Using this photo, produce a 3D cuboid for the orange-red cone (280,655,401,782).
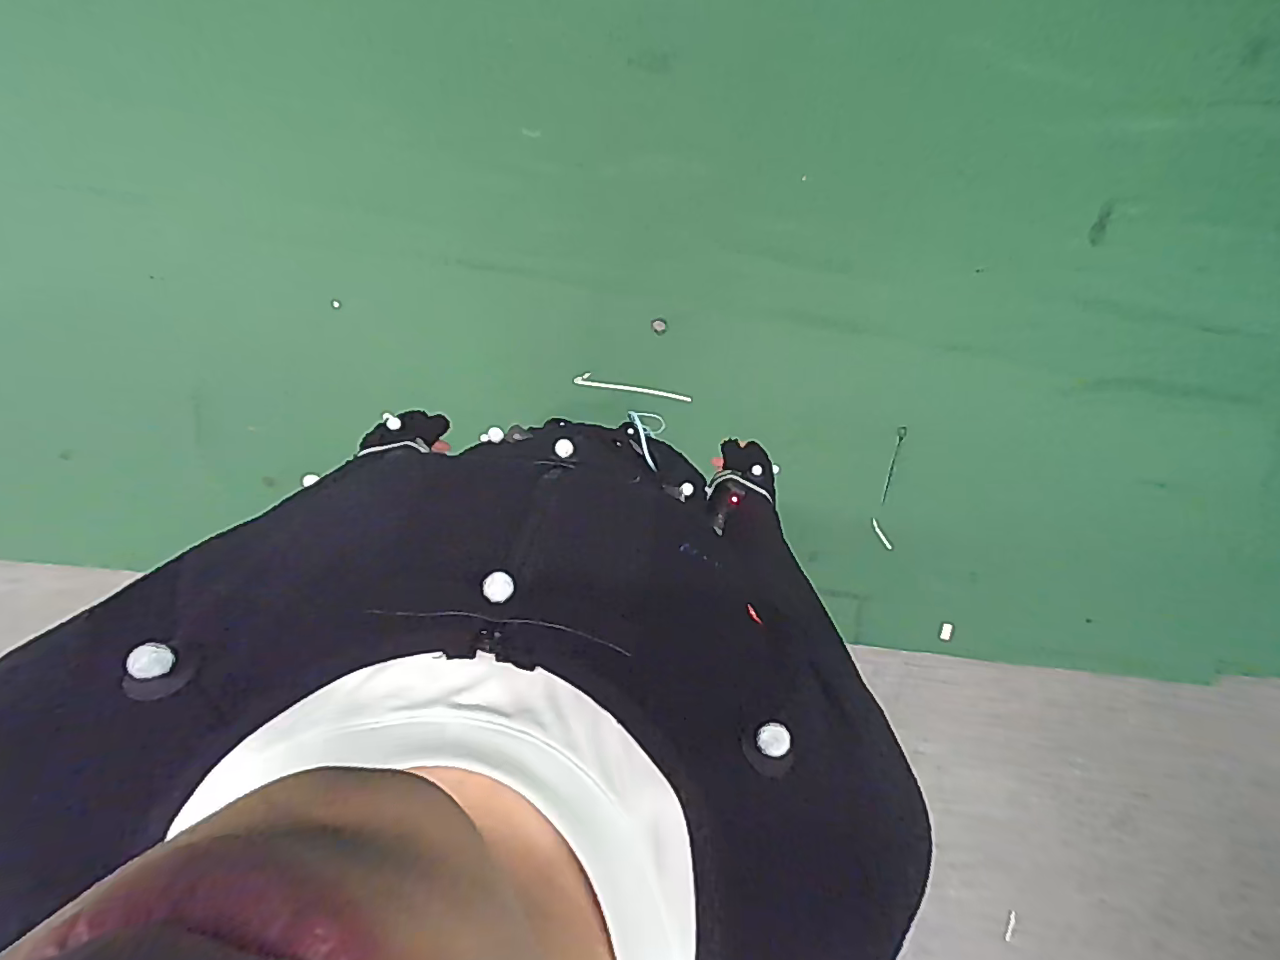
[{"bbox_3d":[-0.764,0.614,1.337,0.198,0.360,0.199,8,97,-4],"label":"orange-red cone"}]
